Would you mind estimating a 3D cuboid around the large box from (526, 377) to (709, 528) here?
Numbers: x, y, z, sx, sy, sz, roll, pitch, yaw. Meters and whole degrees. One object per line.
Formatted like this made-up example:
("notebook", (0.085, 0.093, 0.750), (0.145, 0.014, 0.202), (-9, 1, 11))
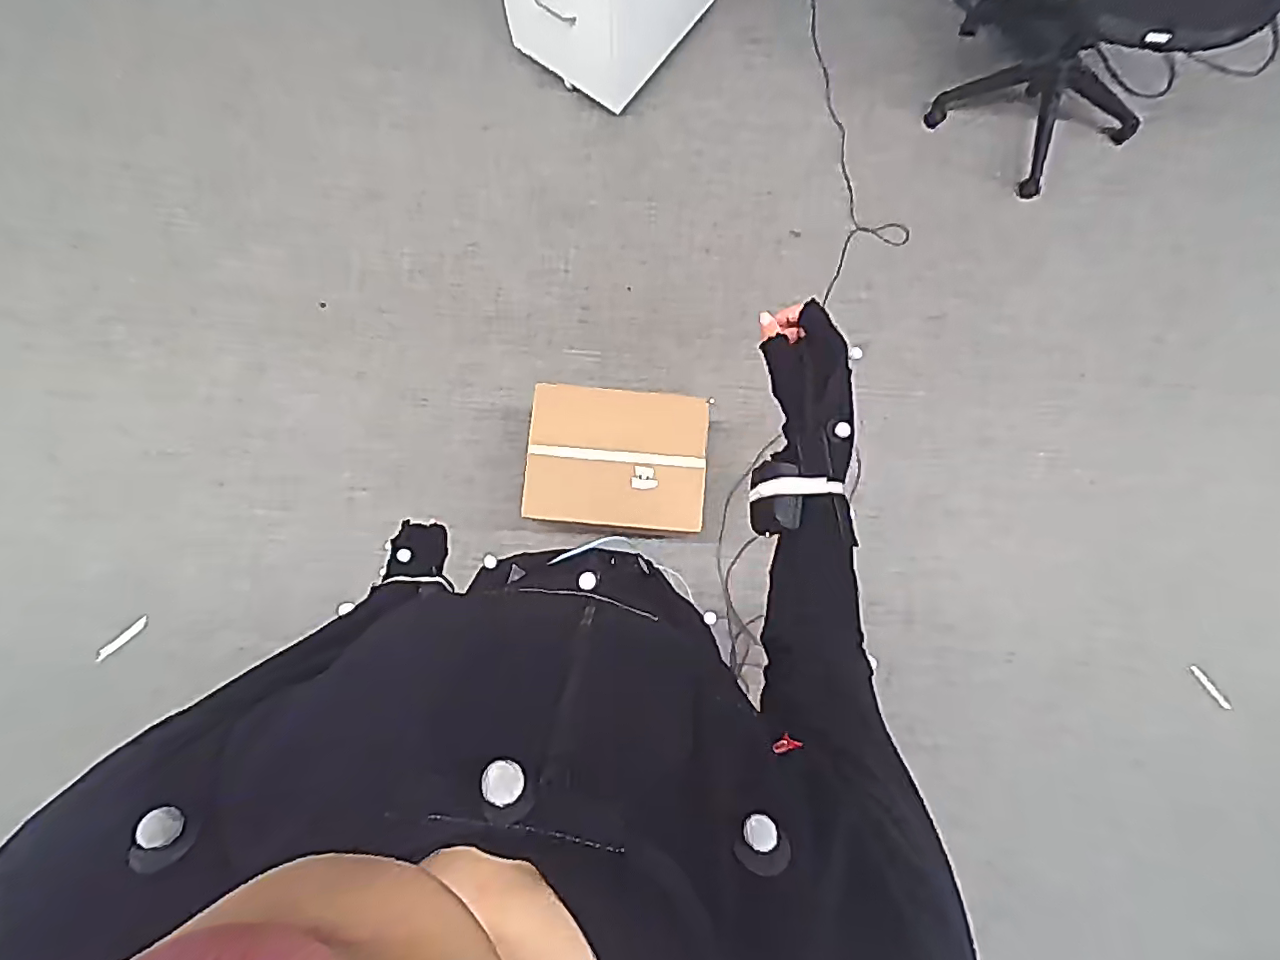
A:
("large box", (-0.055, -0.051, 1.377), (0.408, 0.320, 0.320), (5, 83, -1))
